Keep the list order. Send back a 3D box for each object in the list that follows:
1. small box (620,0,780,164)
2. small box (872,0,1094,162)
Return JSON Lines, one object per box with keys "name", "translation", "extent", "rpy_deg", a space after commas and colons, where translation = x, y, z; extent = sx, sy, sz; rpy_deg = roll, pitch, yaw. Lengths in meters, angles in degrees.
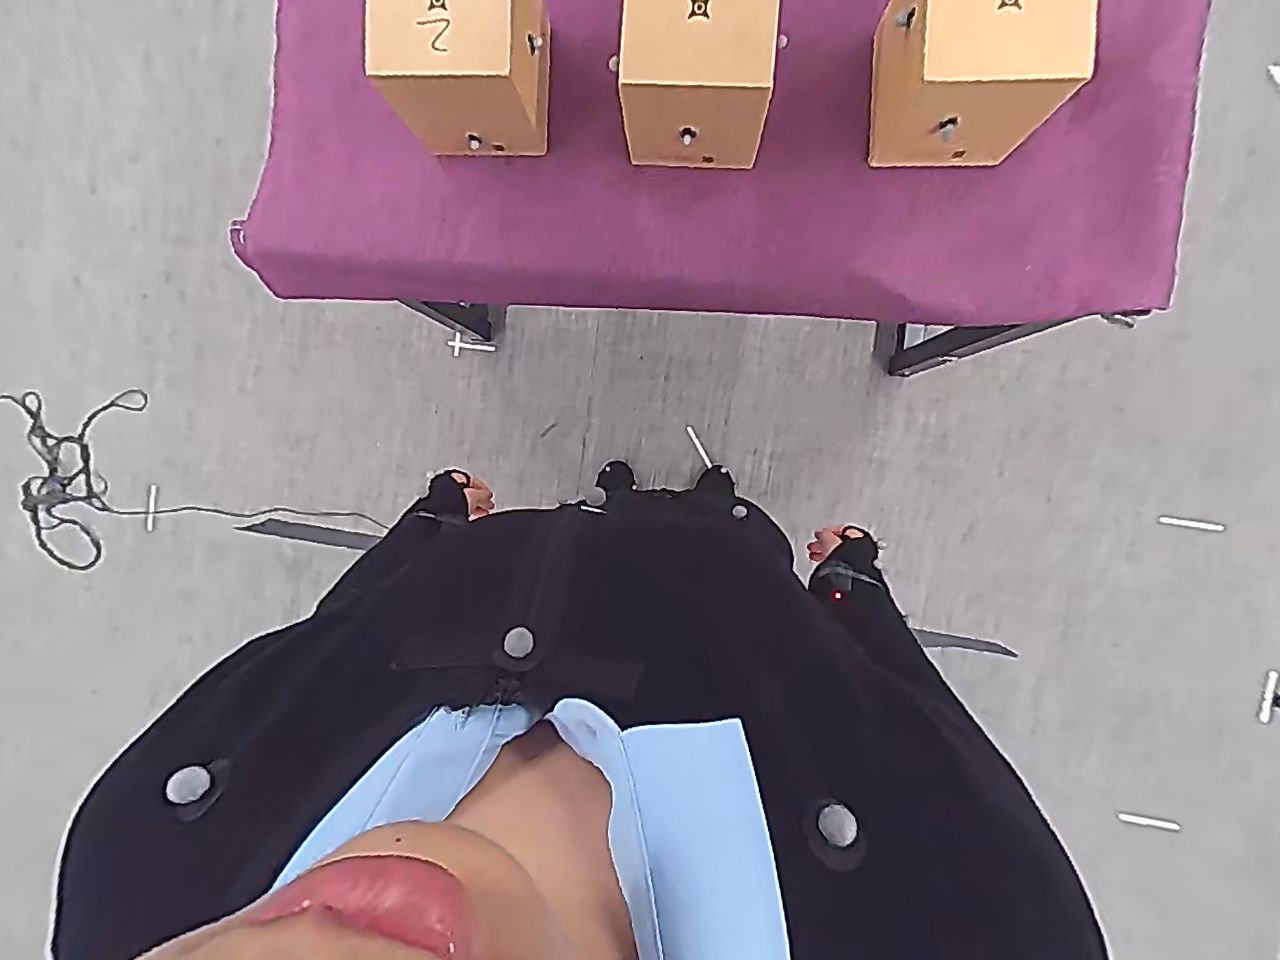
{"name": "small box", "translation": [0.073, -0.511, 0.649], "extent": [0.168, 0.176, 0.179], "rpy_deg": [5, 93, 3]}
{"name": "small box", "translation": [0.381, -0.496, 0.628], "extent": [0.168, 0.176, 0.179], "rpy_deg": [2, 91, 5]}
